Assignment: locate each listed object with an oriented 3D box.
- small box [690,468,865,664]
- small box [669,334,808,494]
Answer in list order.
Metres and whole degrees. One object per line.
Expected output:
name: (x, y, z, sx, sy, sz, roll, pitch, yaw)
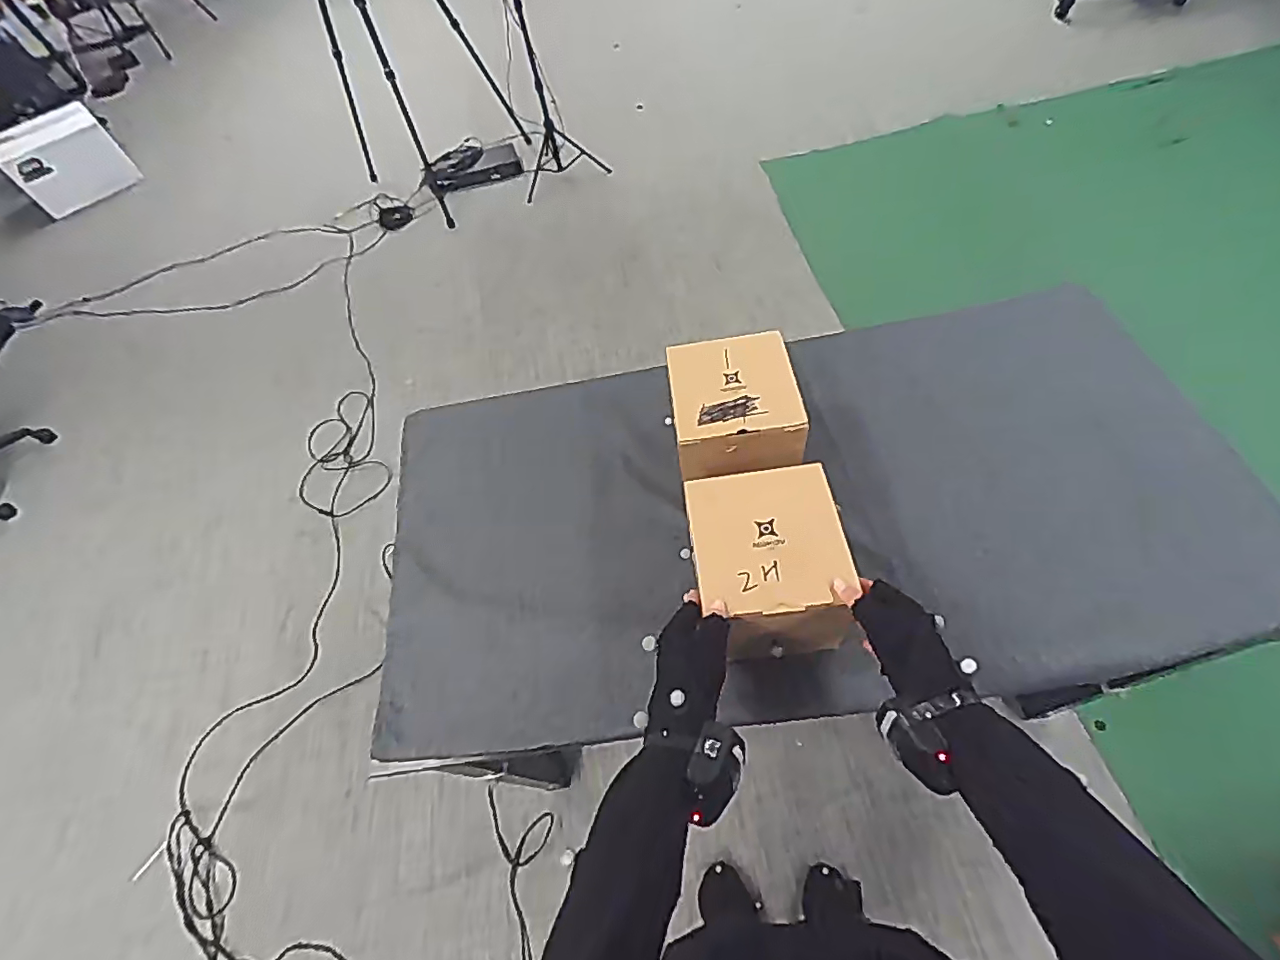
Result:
small box: (0.154, 0.110, 0.666, 0.168, 0.176, 0.179, -8, 57, 4)
small box: (0.138, -0.081, 0.791, 0.168, 0.176, 0.179, -8, 57, 4)
